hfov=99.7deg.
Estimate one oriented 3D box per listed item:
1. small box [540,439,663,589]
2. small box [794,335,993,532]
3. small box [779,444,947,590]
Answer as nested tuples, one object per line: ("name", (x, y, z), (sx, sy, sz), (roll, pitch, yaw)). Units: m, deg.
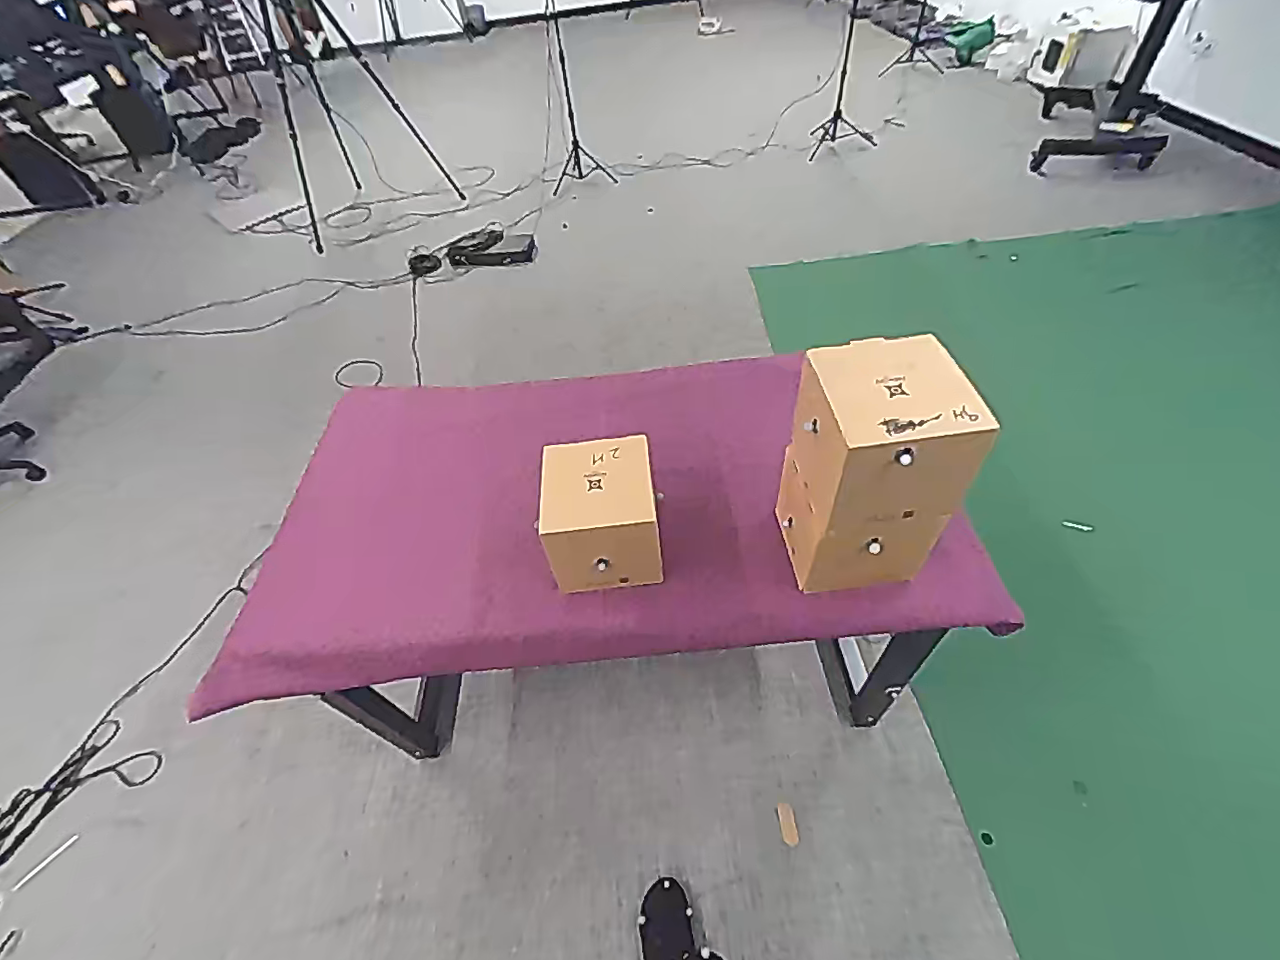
("small box", (-0.056, 0.061, 0.866), (0.168, 0.176, 0.179), (-7, 48, 2))
("small box", (0.305, -0.057, 0.699), (0.168, 0.176, 0.179), (-9, 49, 3))
("small box", (0.322, 0.049, 0.822), (0.179, 0.176, 0.168), (-9, 50, 2))
